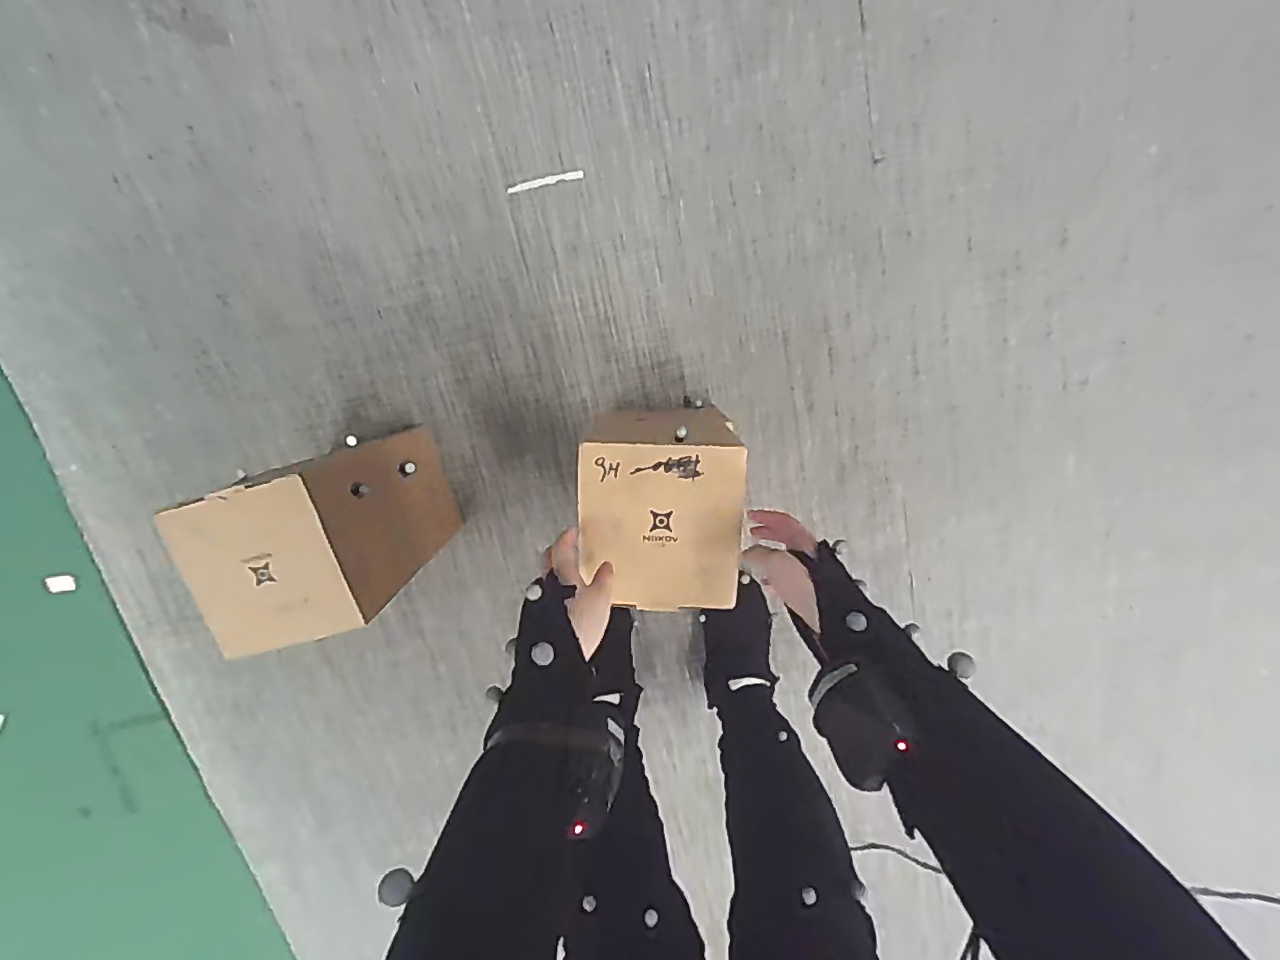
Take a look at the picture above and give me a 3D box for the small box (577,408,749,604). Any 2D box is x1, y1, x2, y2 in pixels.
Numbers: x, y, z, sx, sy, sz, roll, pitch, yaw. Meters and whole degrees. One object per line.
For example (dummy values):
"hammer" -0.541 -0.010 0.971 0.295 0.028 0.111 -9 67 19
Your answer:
"small box" 0.021 0.021 0.614 0.168 0.176 0.179 2 105 0

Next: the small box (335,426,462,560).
"small box" -0.384 0.026 0.786 0.168 0.176 0.179 -16 104 4

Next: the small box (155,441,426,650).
"small box" -0.380 0.061 0.627 0.168 0.176 0.179 -15 105 5
